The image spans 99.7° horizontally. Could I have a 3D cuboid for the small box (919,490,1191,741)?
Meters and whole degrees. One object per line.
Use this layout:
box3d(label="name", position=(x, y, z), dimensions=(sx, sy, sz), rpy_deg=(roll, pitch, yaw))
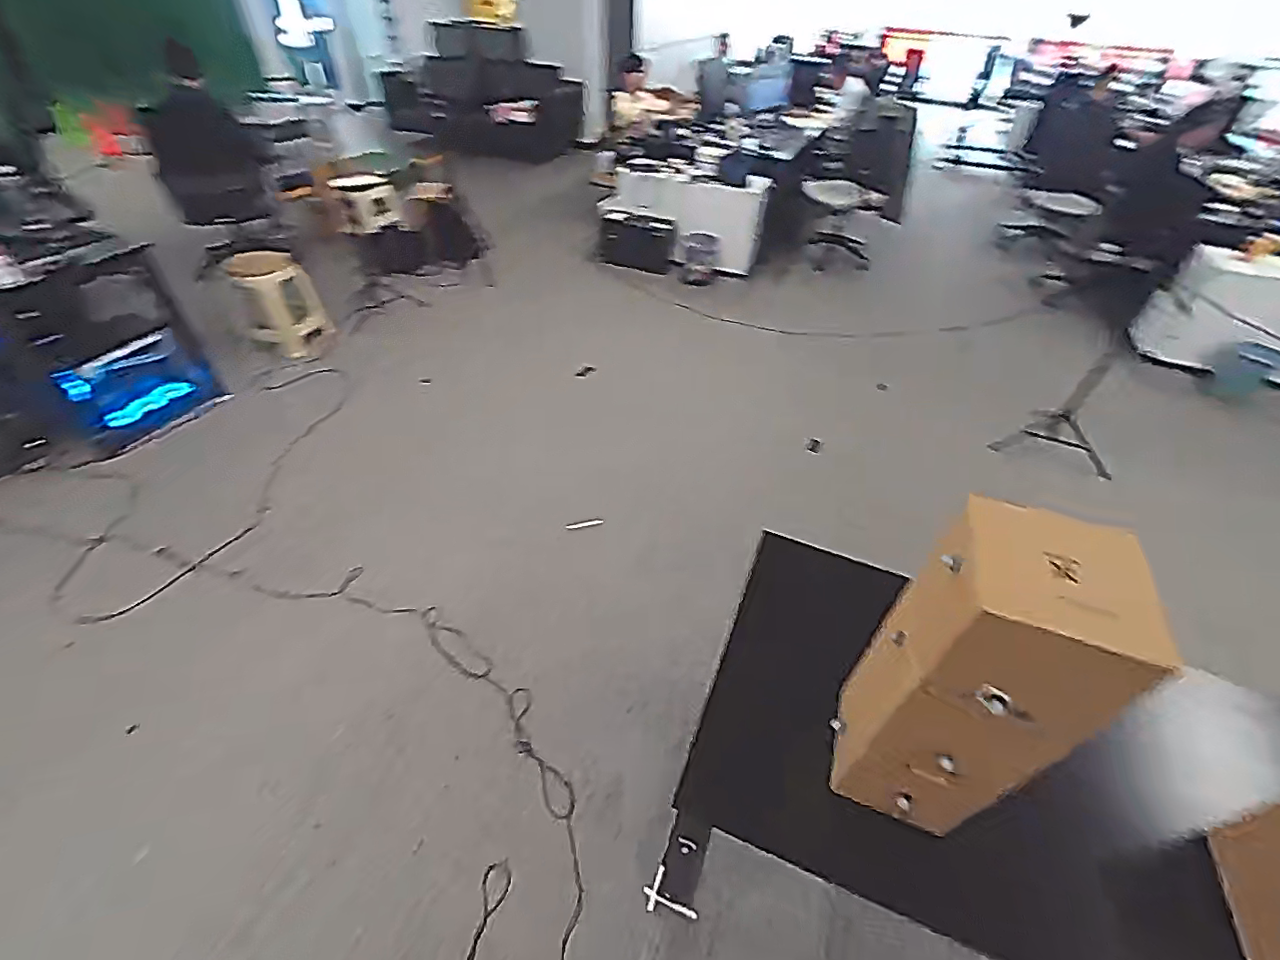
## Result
box3d(label="small box", position=(0.420, 0.144, 0.590), dimensions=(0.168, 0.176, 0.179), rpy_deg=(15, 45, 14))

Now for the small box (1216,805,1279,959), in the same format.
box3d(label="small box", position=(0.904, 0.534, 0.683), dimensions=(0.168, 0.176, 0.179), rpy_deg=(17, 45, 14))

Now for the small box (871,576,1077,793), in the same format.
box3d(label="small box", position=(0.413, 0.263, 0.702), dimensions=(0.168, 0.176, 0.179), rpy_deg=(16, 44, 14))

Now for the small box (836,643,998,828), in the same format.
box3d(label="small box", position=(0.405, 0.385, 0.813), dimensions=(0.168, 0.176, 0.179), rpy_deg=(16, 45, 13))
